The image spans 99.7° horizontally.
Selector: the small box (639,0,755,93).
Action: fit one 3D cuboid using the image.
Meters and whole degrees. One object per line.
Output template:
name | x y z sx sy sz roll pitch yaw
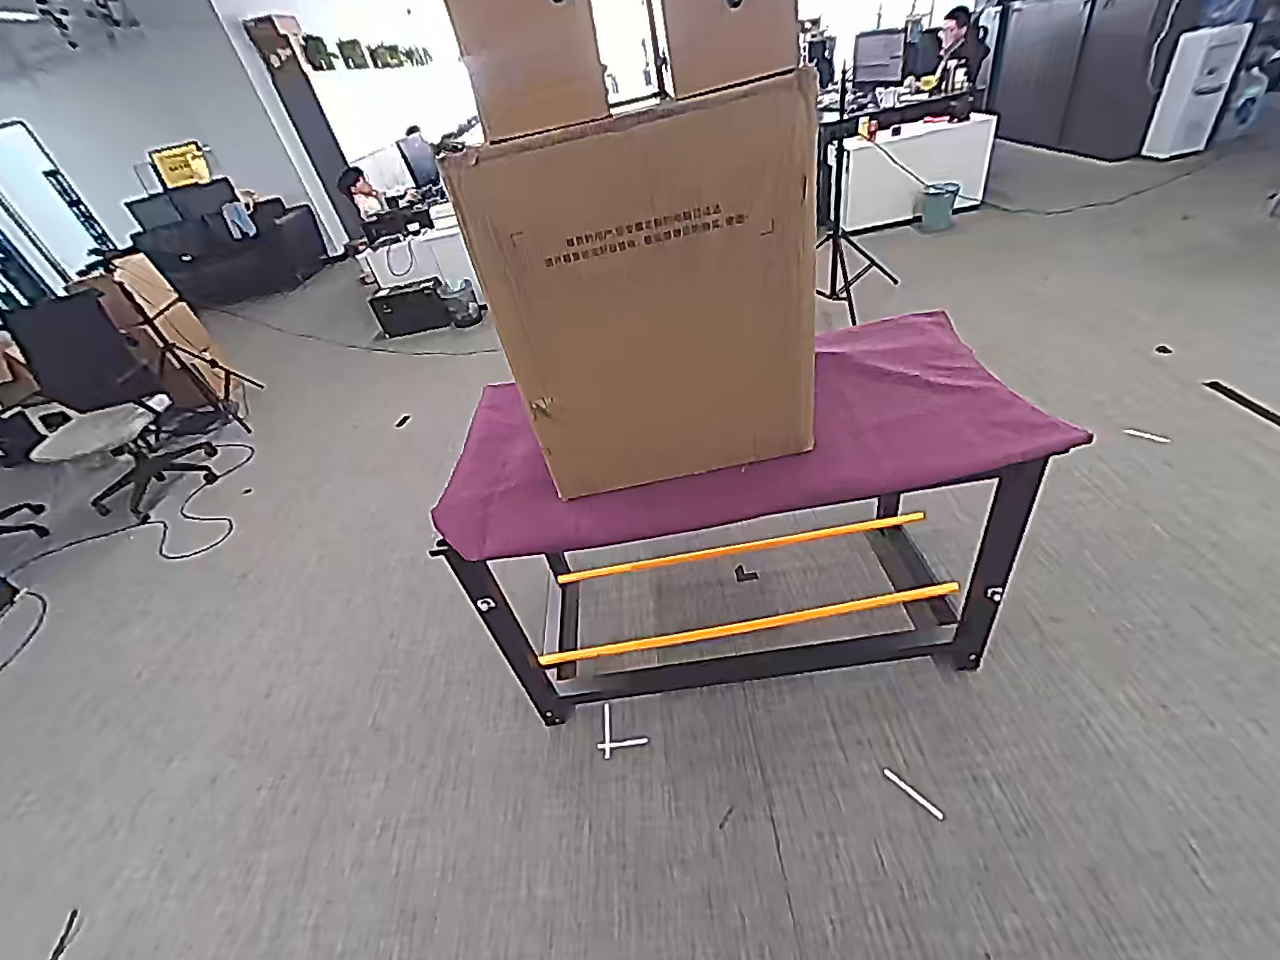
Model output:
small box | 0.089 -0.757 0.890 0.168 0.176 0.179 -11 38 5
